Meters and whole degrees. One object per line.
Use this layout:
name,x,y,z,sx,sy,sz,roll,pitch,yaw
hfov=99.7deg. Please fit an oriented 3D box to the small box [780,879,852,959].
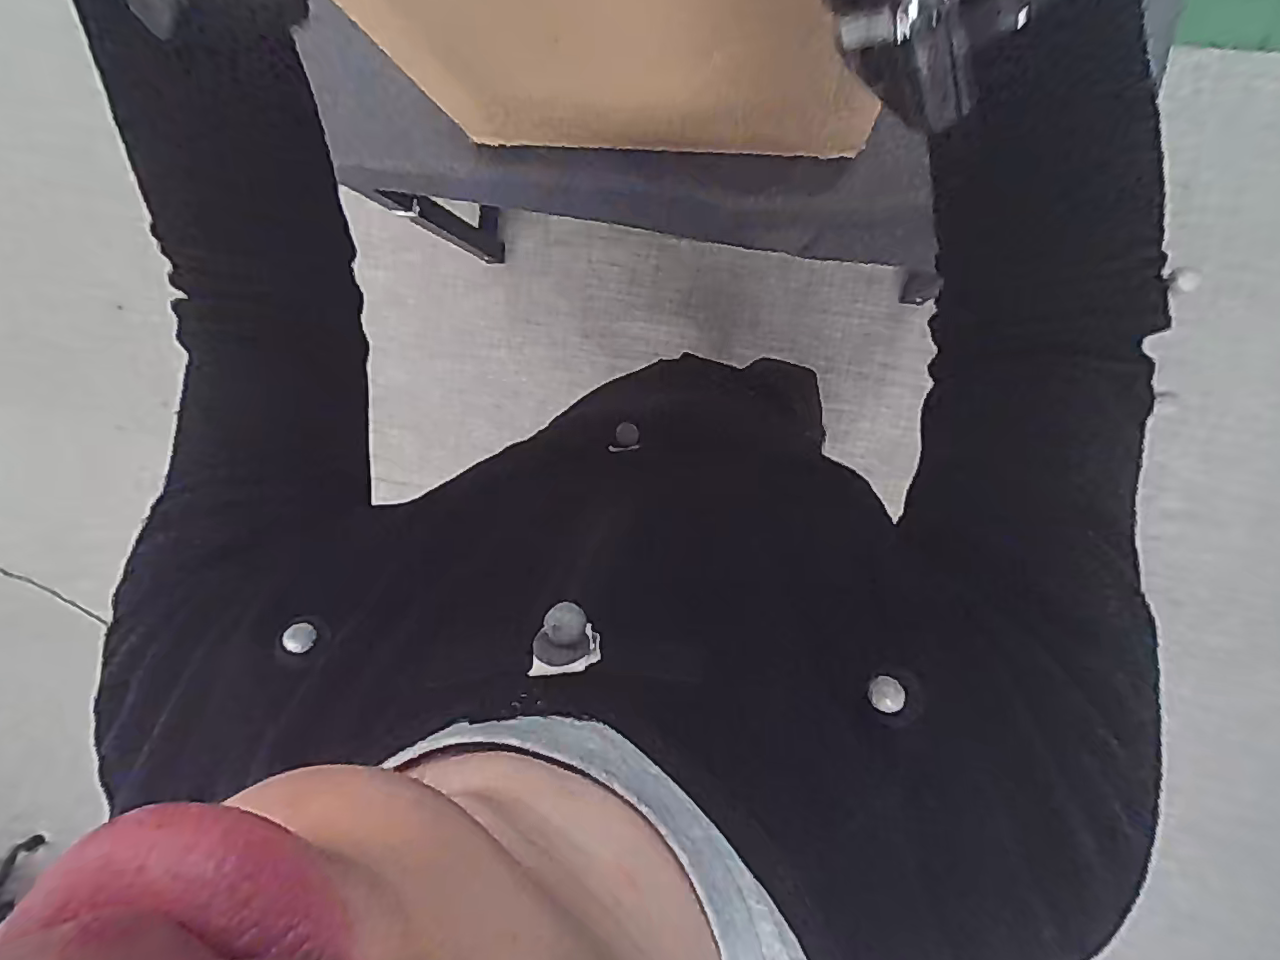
small box,0.520,1.355,1.618,0.168,0.176,0.179,6,99,7
